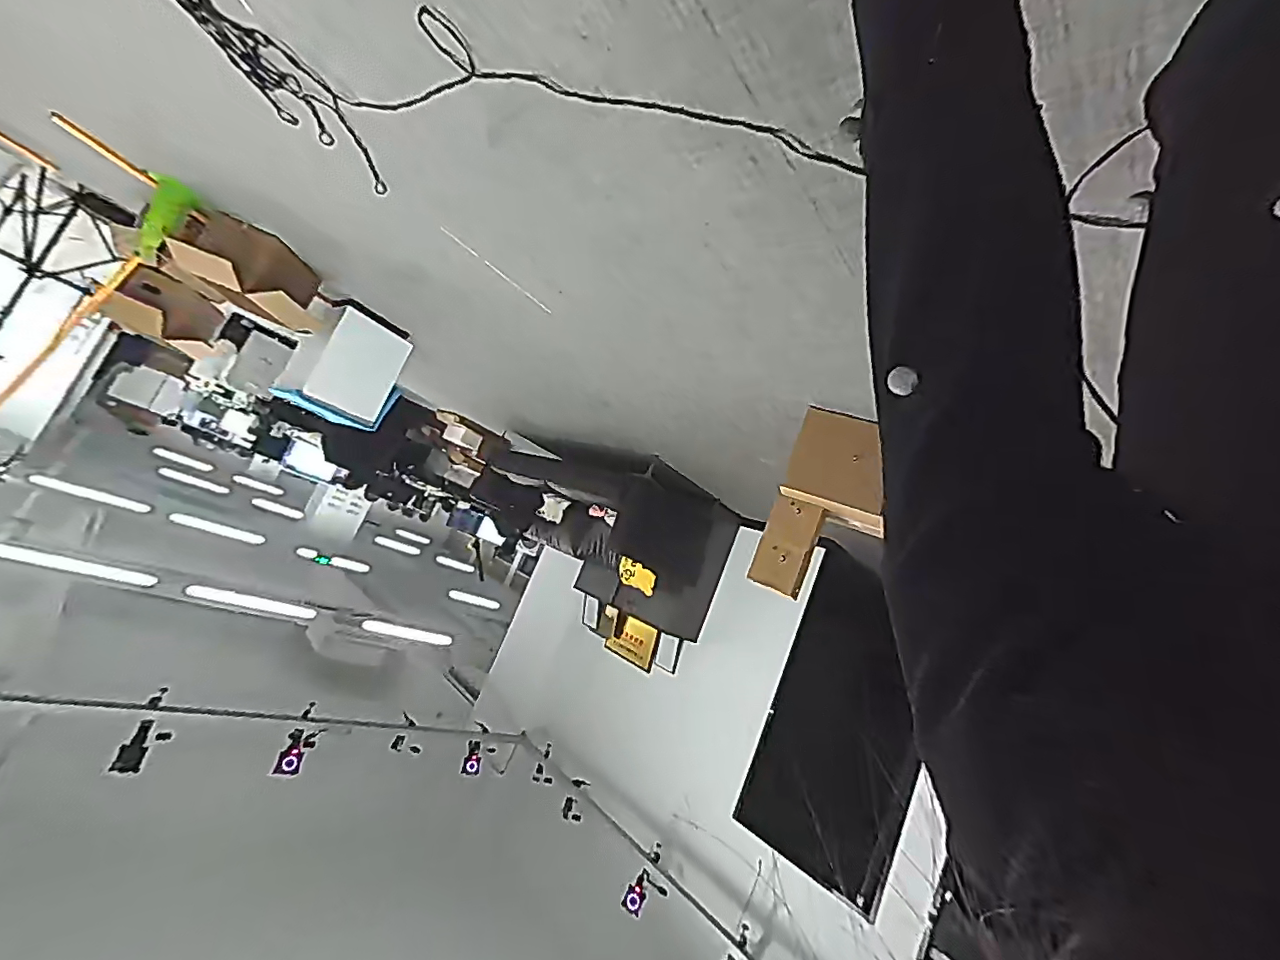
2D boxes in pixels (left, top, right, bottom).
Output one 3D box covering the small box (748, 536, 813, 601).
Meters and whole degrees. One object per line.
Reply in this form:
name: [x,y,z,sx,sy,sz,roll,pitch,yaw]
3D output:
small box: [0.510,0.316,1.939,0.168,0.176,0.179,18,170,27]
